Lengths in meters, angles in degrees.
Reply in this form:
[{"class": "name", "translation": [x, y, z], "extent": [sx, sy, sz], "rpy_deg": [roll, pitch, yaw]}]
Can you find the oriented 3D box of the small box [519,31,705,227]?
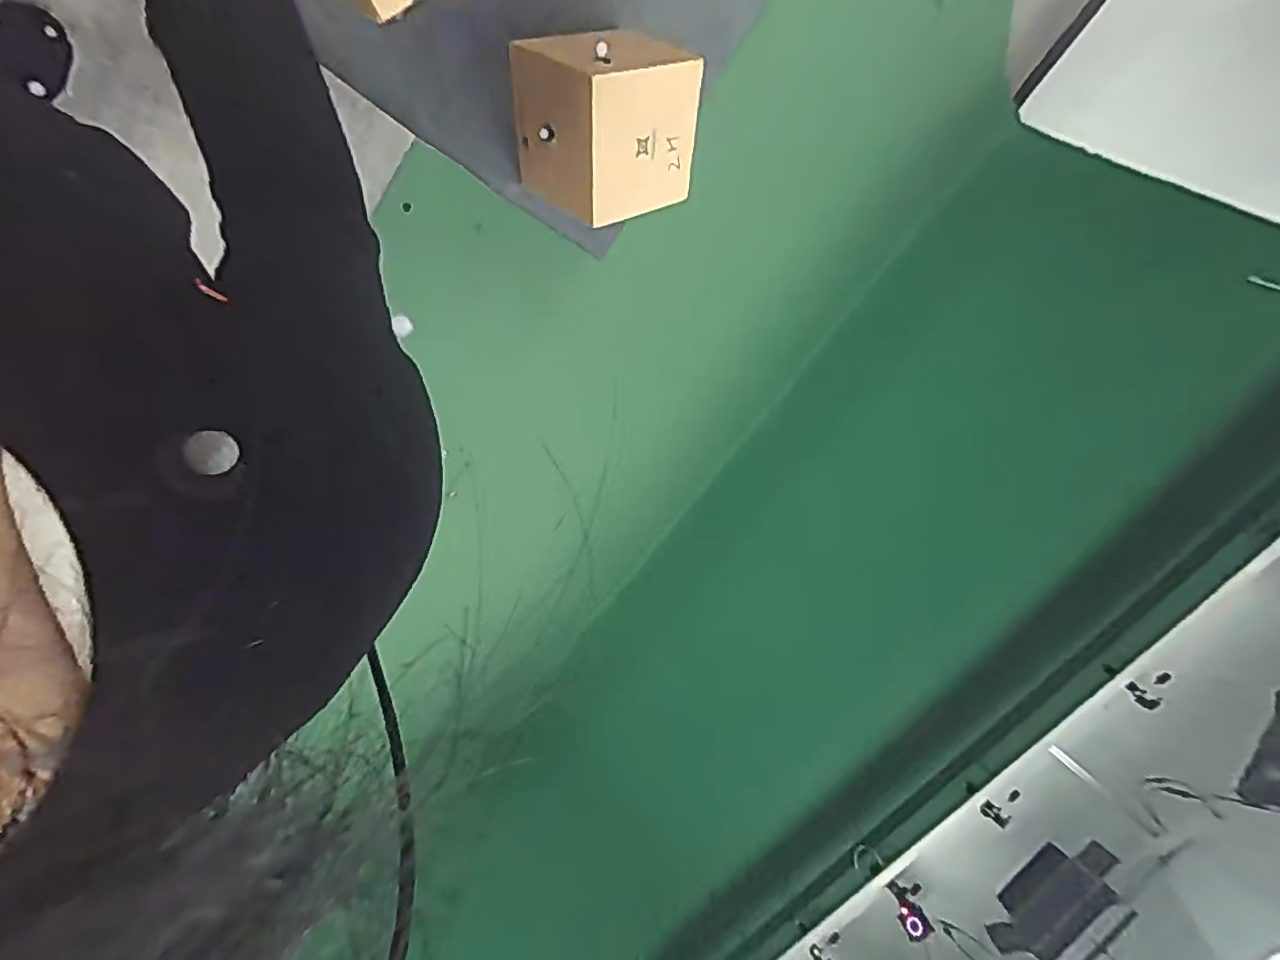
[{"class": "small box", "translation": [-0.044, -0.461, 0.705], "extent": [0.179, 0.176, 0.168], "rpy_deg": [-32, 149, -28]}]
